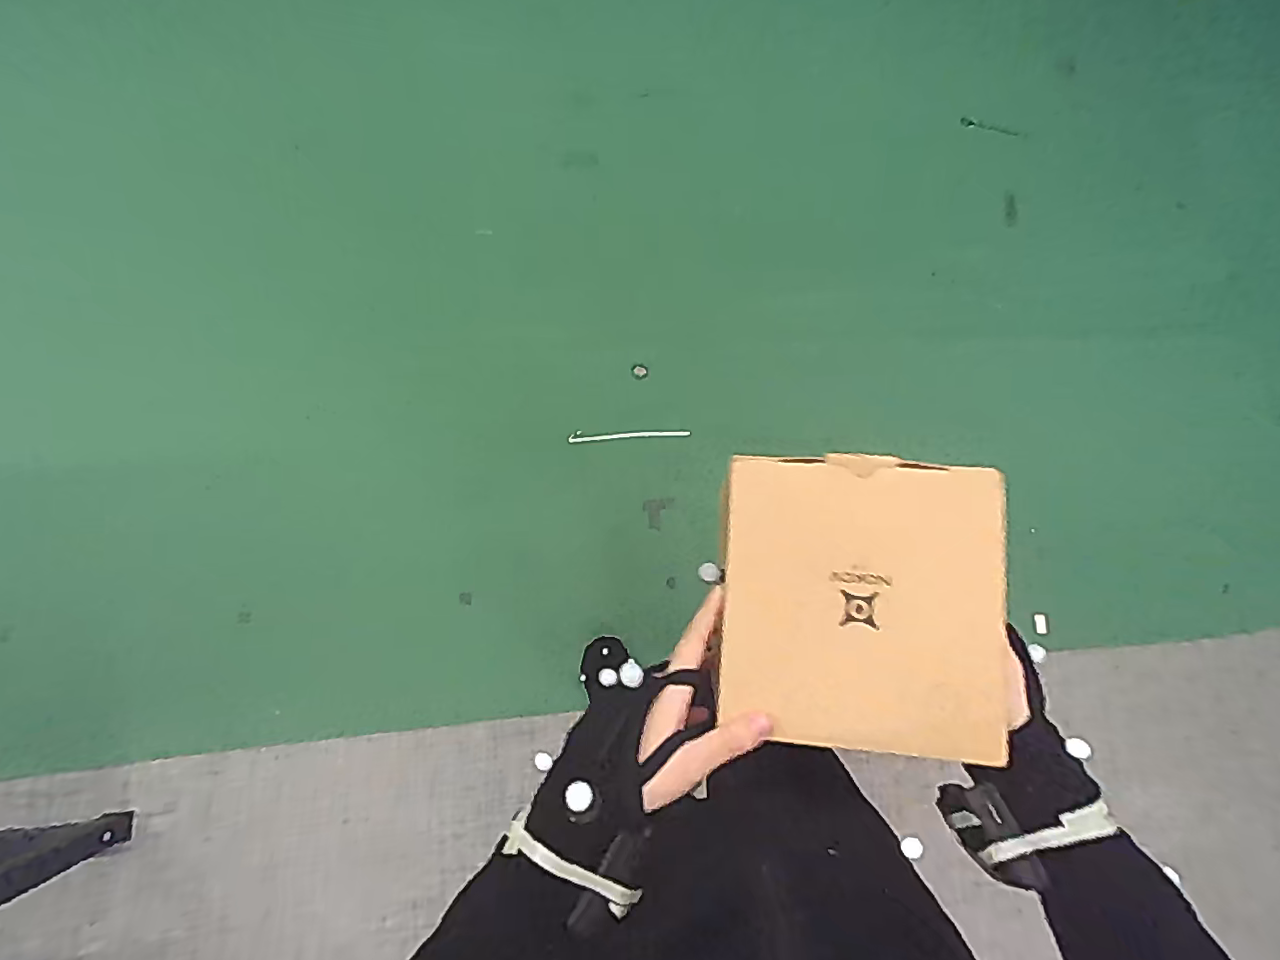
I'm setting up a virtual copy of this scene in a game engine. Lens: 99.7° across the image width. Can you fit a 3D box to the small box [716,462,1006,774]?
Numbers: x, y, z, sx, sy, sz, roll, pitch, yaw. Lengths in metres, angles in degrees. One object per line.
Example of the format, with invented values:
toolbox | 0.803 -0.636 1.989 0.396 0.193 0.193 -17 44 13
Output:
small box | 0.146 0.090 0.412 0.168 0.176 0.179 4 82 8
